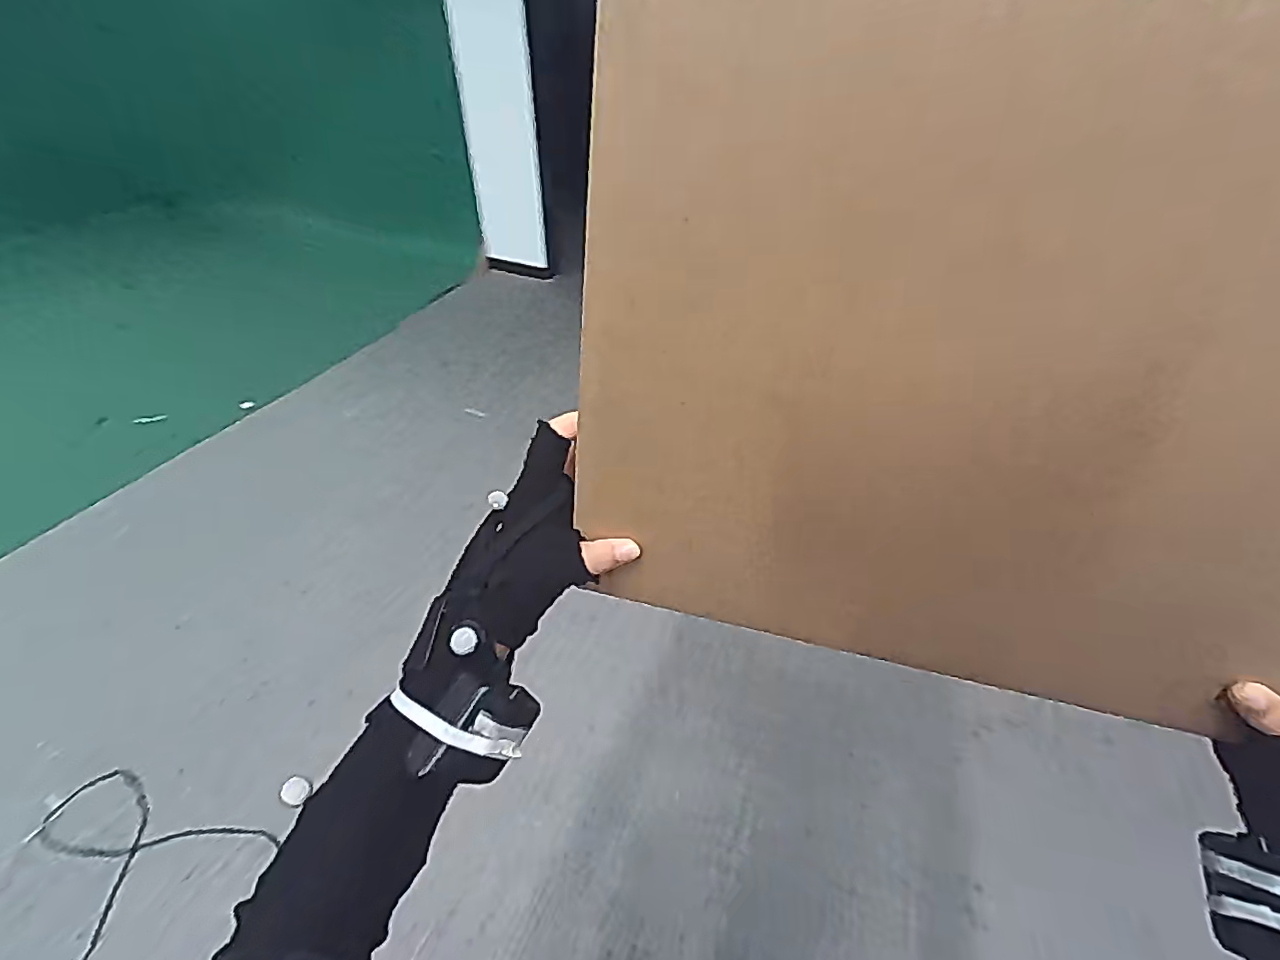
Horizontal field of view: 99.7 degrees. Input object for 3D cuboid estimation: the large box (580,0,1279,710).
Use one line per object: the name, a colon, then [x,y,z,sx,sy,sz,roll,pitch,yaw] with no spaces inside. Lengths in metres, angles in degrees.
large box: [0.196,-0.102,0.349,0.408,0.320,0.320,12,42,2]
